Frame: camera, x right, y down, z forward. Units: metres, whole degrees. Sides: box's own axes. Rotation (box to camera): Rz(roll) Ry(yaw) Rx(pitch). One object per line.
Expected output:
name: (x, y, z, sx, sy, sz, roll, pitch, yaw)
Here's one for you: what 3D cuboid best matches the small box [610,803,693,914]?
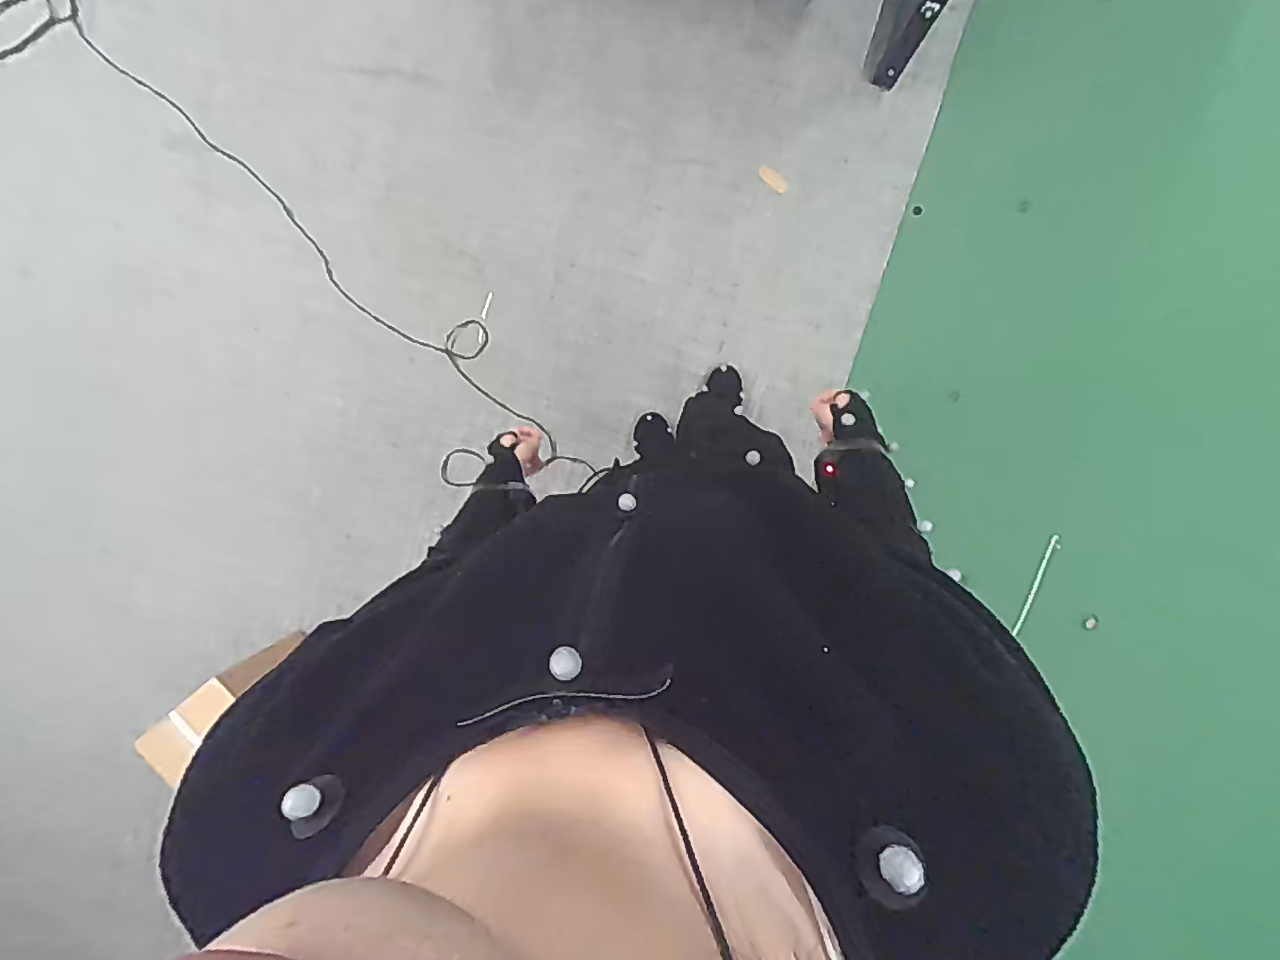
small box: (0.021, 0.860, 1.210, 0.179, 0.176, 0.168, 6, 95, 4)
